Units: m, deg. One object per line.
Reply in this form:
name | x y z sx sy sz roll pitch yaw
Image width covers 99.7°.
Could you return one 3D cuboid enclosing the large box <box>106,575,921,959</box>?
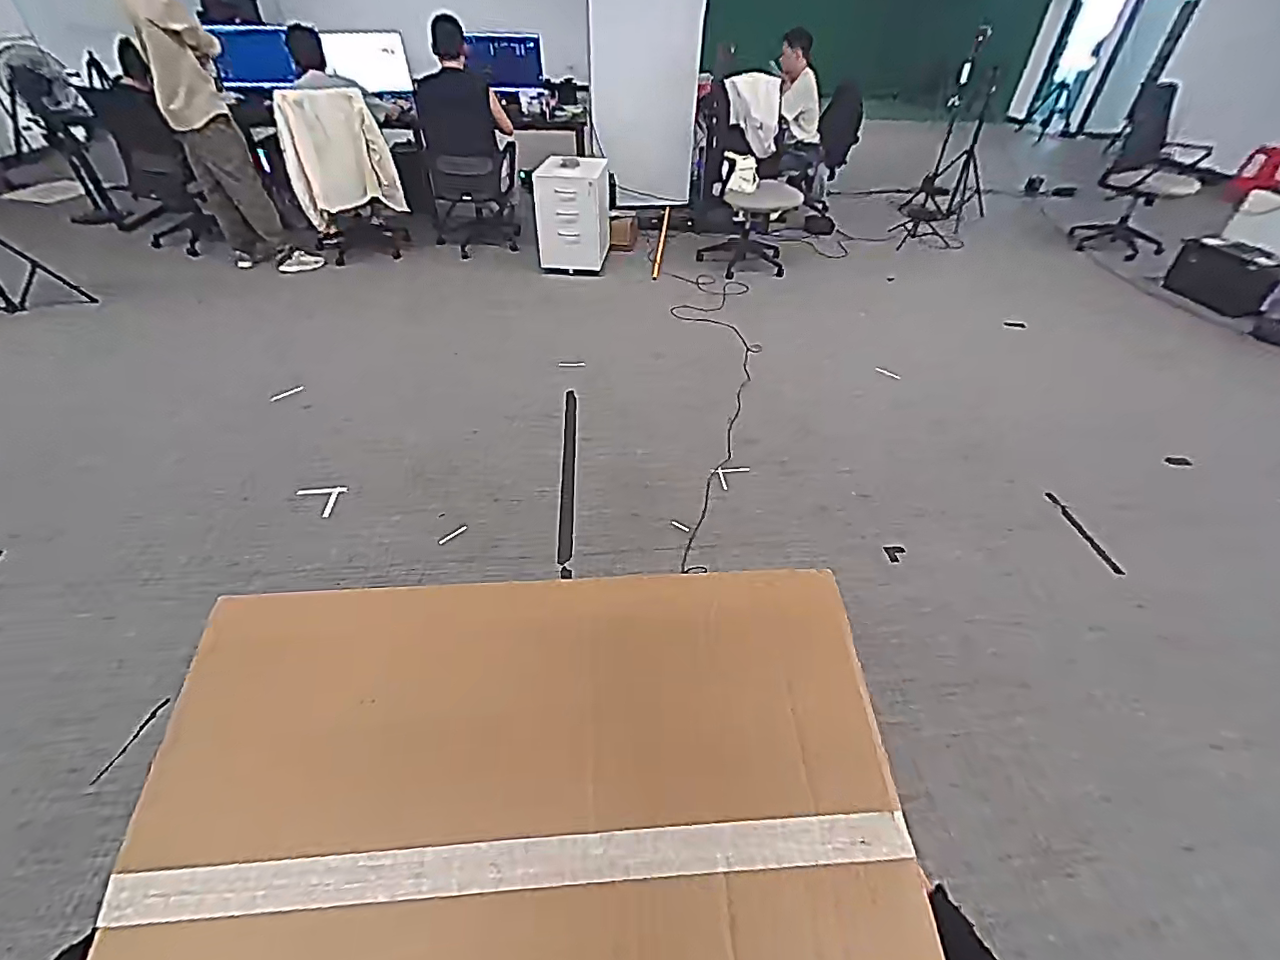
large box | -0.066 0.287 0.410 0.408 0.320 0.320 -2 57 -4
